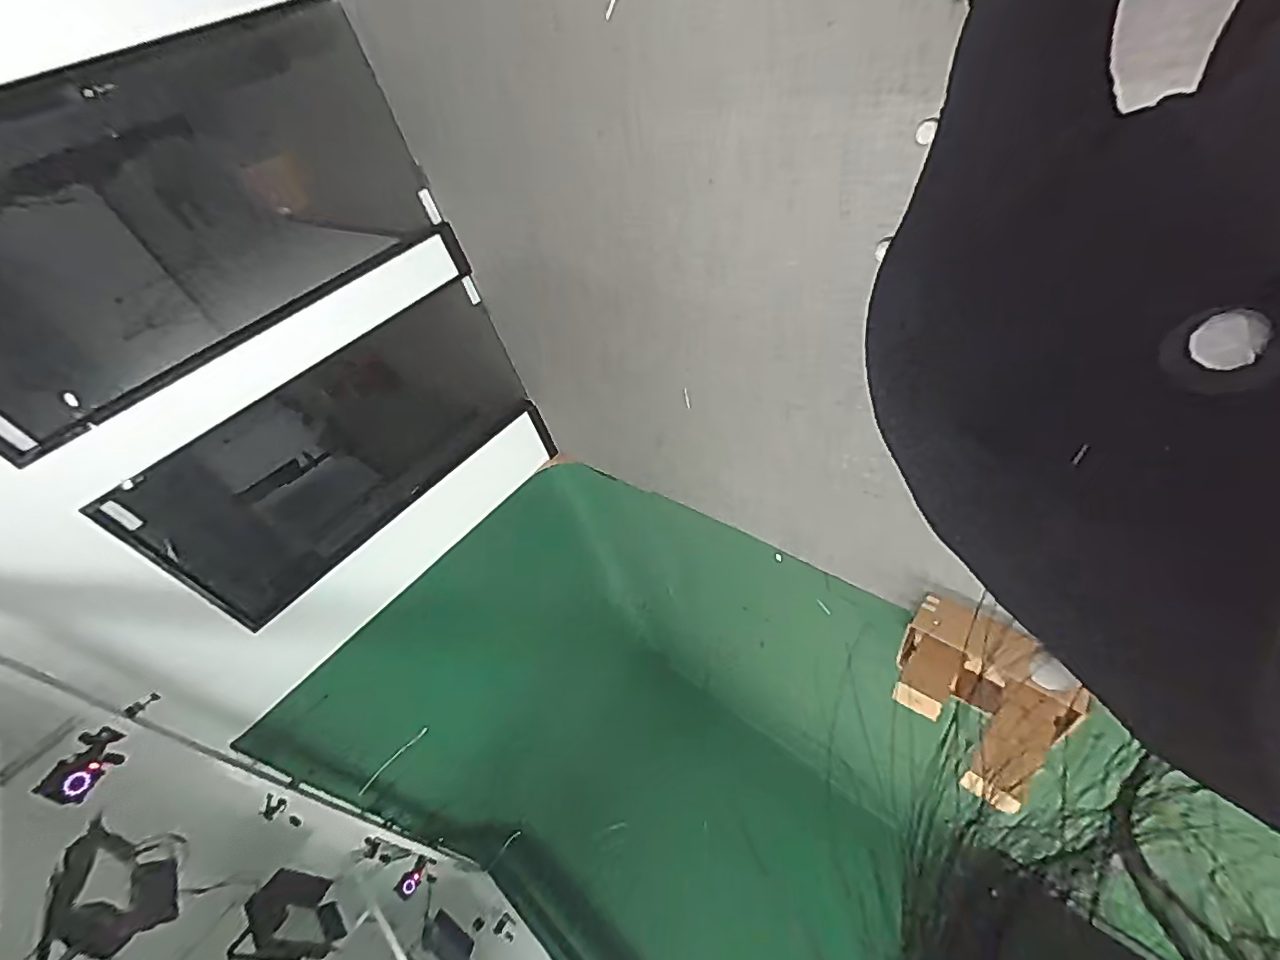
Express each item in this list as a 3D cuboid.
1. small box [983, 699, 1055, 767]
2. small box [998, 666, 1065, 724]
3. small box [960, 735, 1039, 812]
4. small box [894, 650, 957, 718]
[{"bbox_3d":[1.434,0.970,2.052,0.179,0.176,0.168,28,149,35],"label":"small box"},{"bbox_3d":[1.538,0.871,2.132,0.168,0.176,0.179,26,148,35],"label":"small box"},{"bbox_3d":[1.318,1.068,1.985,0.179,0.176,0.168,27,149,35],"label":"small box"},{"bbox_3d":[1.181,0.837,2.233,0.179,0.176,0.168,24,145,35],"label":"small box"}]
